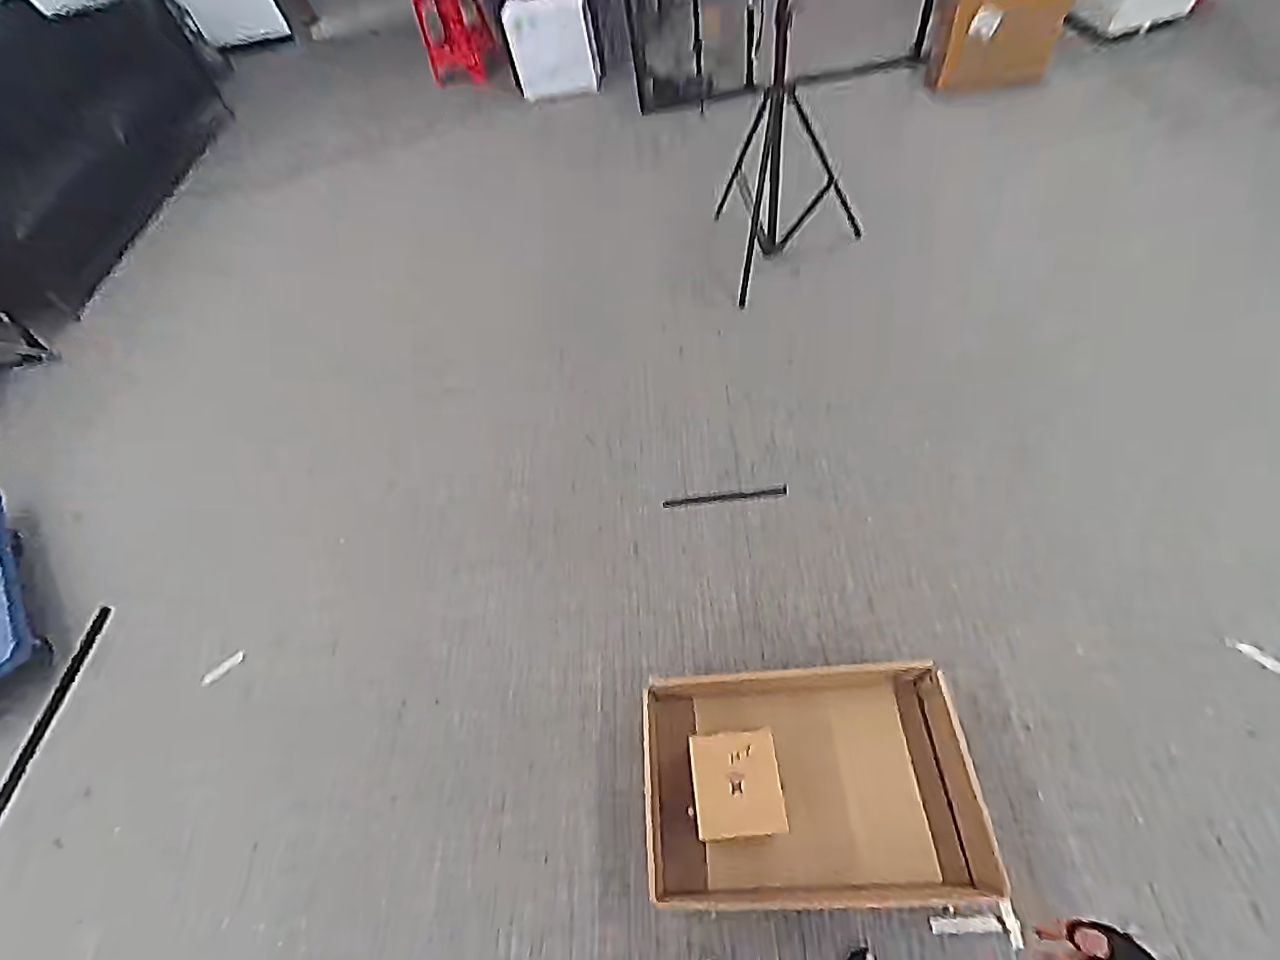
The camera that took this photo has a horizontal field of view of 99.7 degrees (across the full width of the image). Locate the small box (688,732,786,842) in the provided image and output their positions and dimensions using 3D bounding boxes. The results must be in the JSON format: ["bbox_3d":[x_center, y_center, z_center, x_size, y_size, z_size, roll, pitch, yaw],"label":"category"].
[{"bbox_3d":[0.193,0.621,1.093,0.168,0.176,0.179,-7,57,5],"label":"small box"}]
